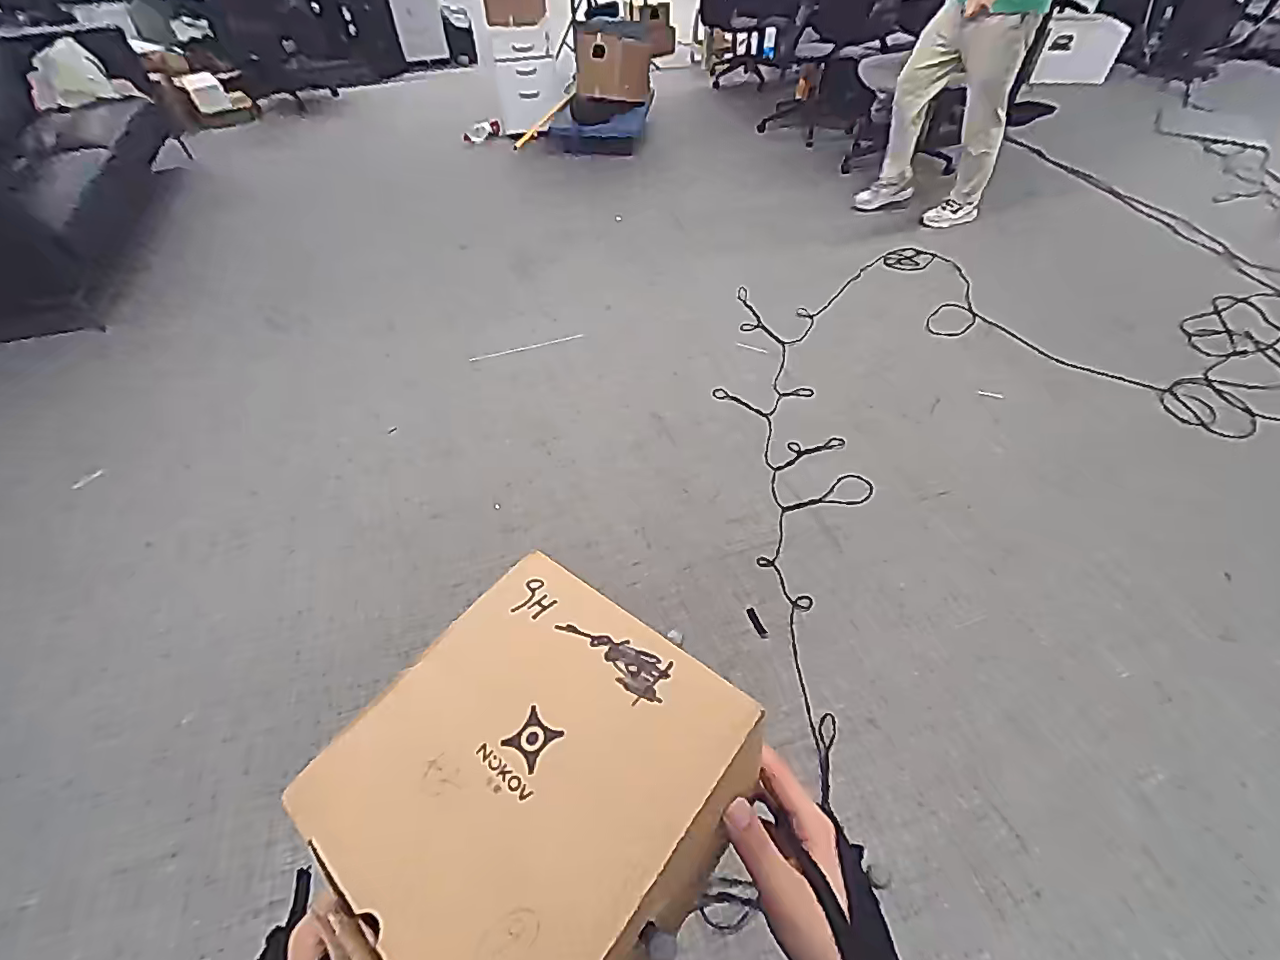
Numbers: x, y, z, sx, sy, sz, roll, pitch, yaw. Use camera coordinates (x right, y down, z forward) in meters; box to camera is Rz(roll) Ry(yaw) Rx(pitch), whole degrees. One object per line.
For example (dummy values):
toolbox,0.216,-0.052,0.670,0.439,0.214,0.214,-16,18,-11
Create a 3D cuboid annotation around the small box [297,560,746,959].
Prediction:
small box,-0.047,0.190,0.327,0.168,0.176,0.179,27,59,30
